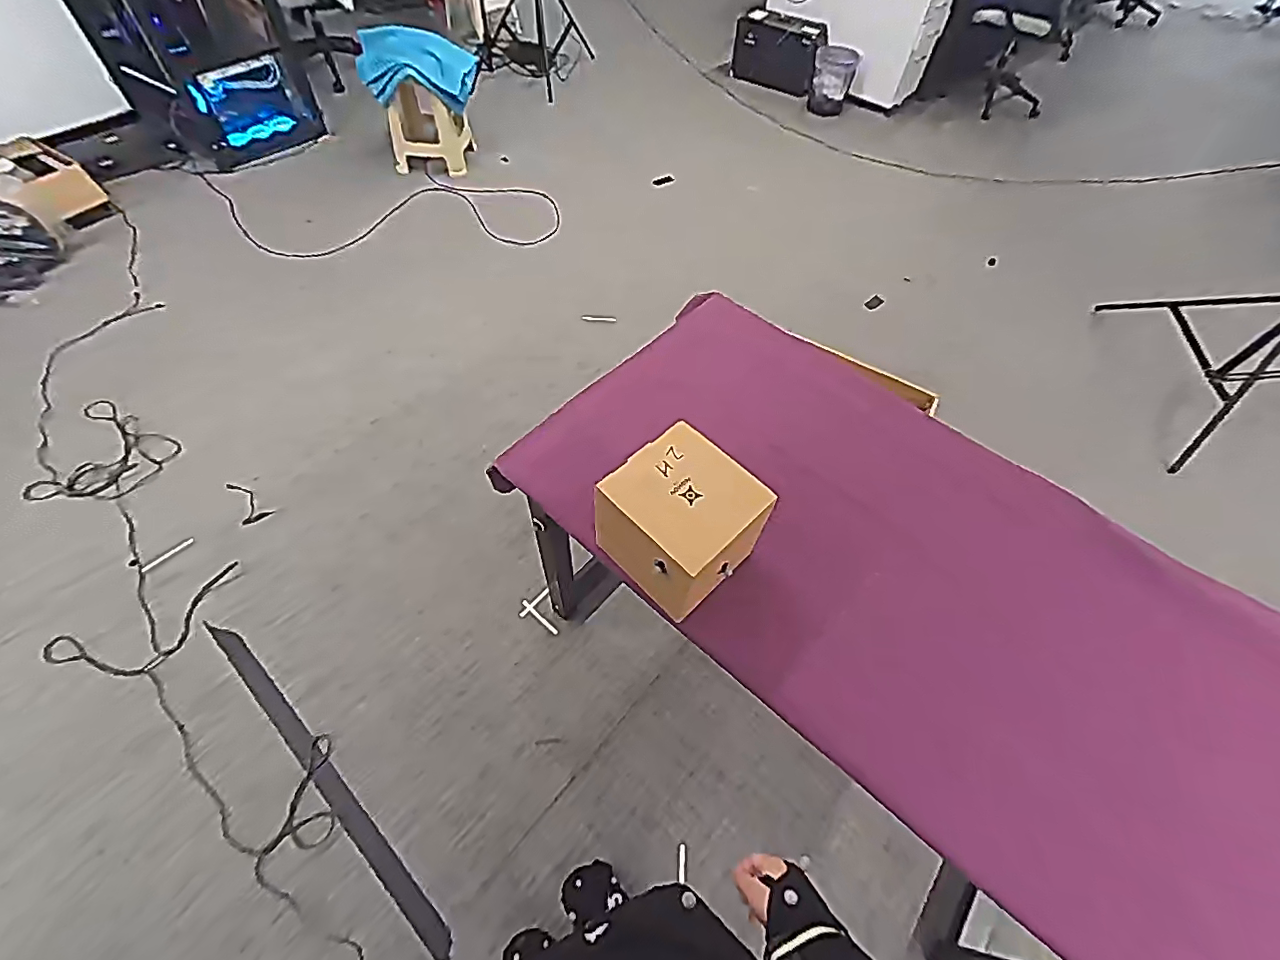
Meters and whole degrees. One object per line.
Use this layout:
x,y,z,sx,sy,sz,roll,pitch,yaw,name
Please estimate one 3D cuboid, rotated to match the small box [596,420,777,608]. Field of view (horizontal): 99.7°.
0.057,0.056,0.757,0.168,0.176,0.179,-38,66,-25,small box
